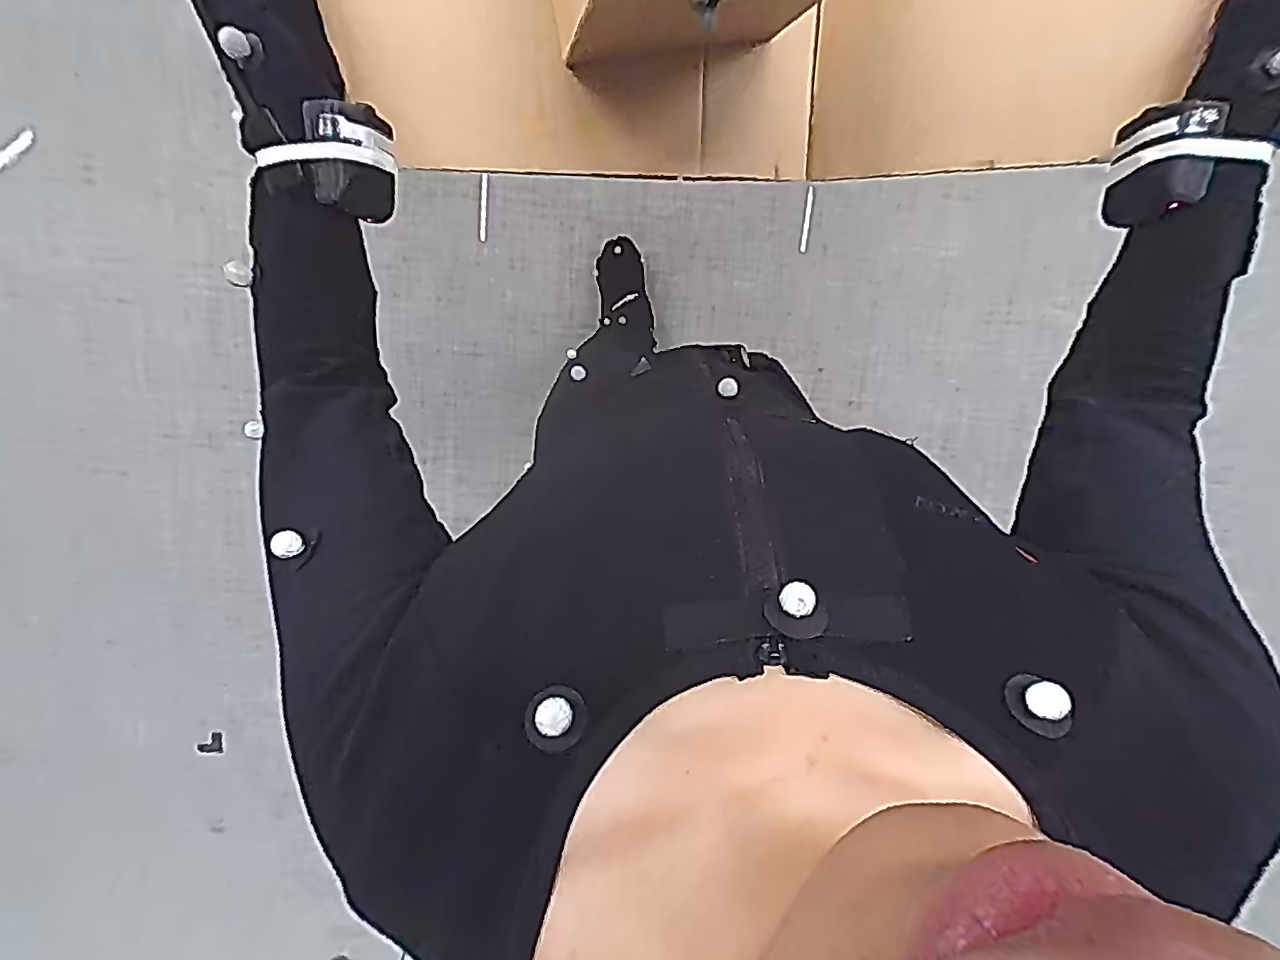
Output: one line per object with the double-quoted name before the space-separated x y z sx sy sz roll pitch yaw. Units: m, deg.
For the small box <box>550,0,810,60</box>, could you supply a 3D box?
"small box" 0.032 -0.385 0.325 0.179 0.176 0.168 -15 114 -10
